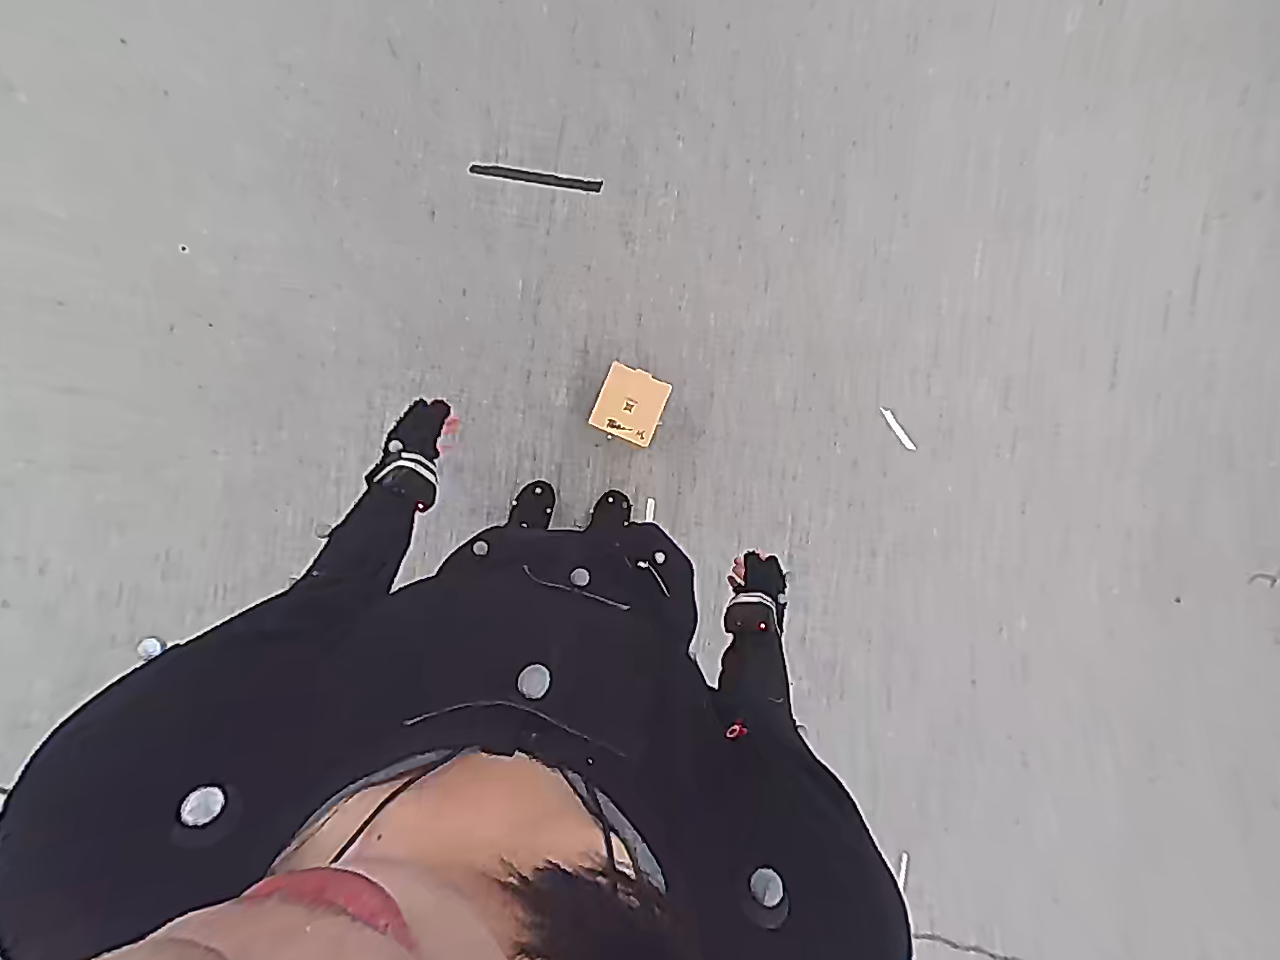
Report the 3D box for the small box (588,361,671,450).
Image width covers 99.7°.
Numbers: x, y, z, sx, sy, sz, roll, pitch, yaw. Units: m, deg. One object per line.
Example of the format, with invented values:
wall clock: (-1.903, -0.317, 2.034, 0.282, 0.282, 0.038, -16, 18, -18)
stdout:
small box: (-0.034, -0.191, 1.447, 0.168, 0.176, 0.179, 23, 88, -5)
